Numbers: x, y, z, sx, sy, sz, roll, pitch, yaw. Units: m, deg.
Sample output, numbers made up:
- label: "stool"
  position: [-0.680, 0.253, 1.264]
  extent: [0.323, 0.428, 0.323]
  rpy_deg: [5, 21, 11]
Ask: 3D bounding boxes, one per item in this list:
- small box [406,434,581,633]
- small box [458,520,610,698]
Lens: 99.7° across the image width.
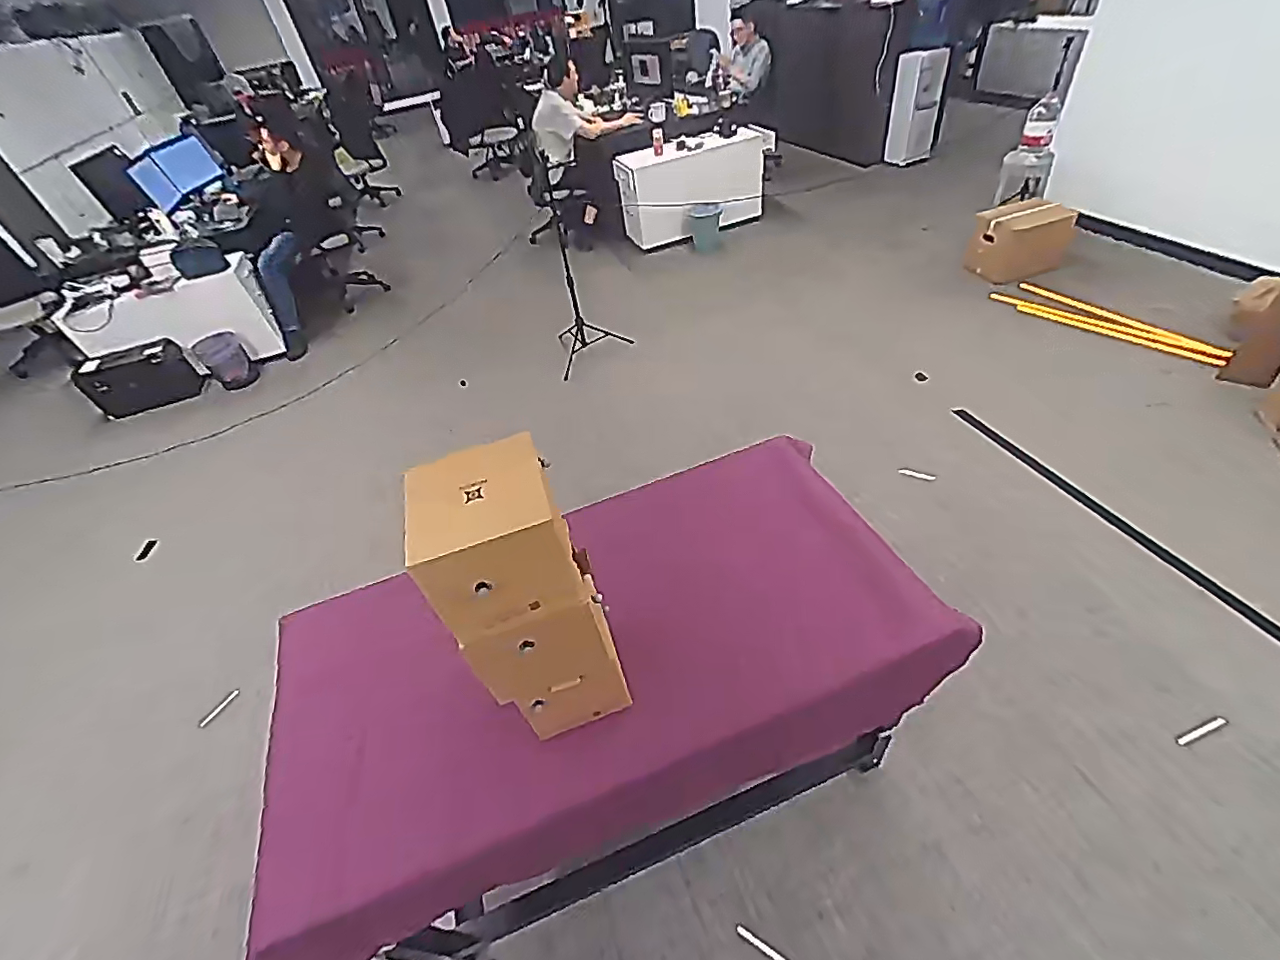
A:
- label: "small box"
  position: [-0.186, 0.074, 0.701]
  extent: [0.168, 0.176, 0.179]
  rpy_deg: [-19, 43, -7]
- label: "small box"
  position: [-0.159, 0.195, 0.808]
  extent: [0.179, 0.176, 0.168]
  rpy_deg: [-18, 44, -7]
